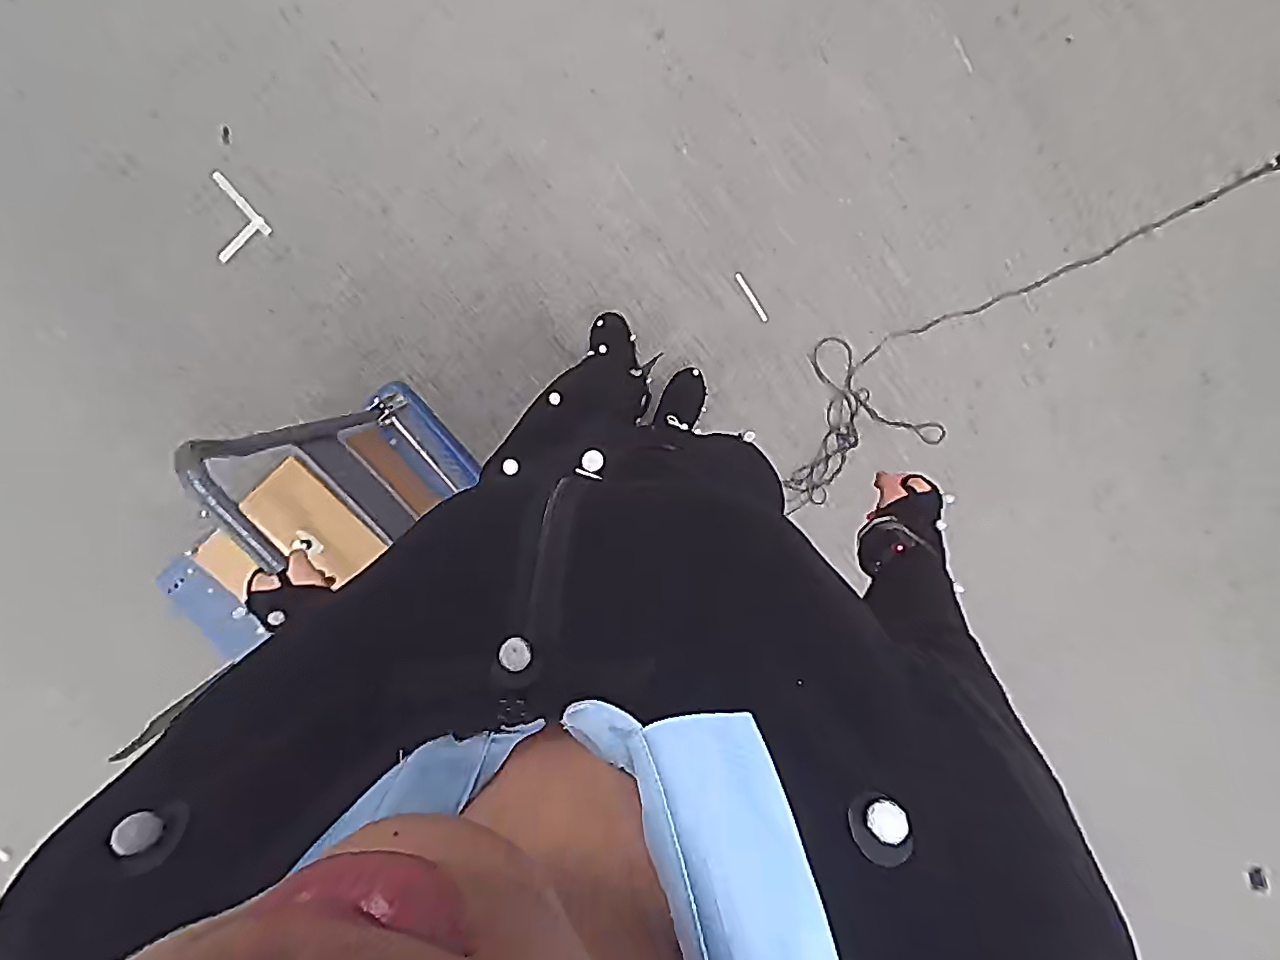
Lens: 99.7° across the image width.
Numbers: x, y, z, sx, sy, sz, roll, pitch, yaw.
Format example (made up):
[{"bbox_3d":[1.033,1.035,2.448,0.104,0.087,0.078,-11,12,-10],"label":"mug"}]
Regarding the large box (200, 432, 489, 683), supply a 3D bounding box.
[{"bbox_3d":[-0.622,0.155,1.216,0.320,0.320,0.408,-40,100,9],"label":"large box"}]
